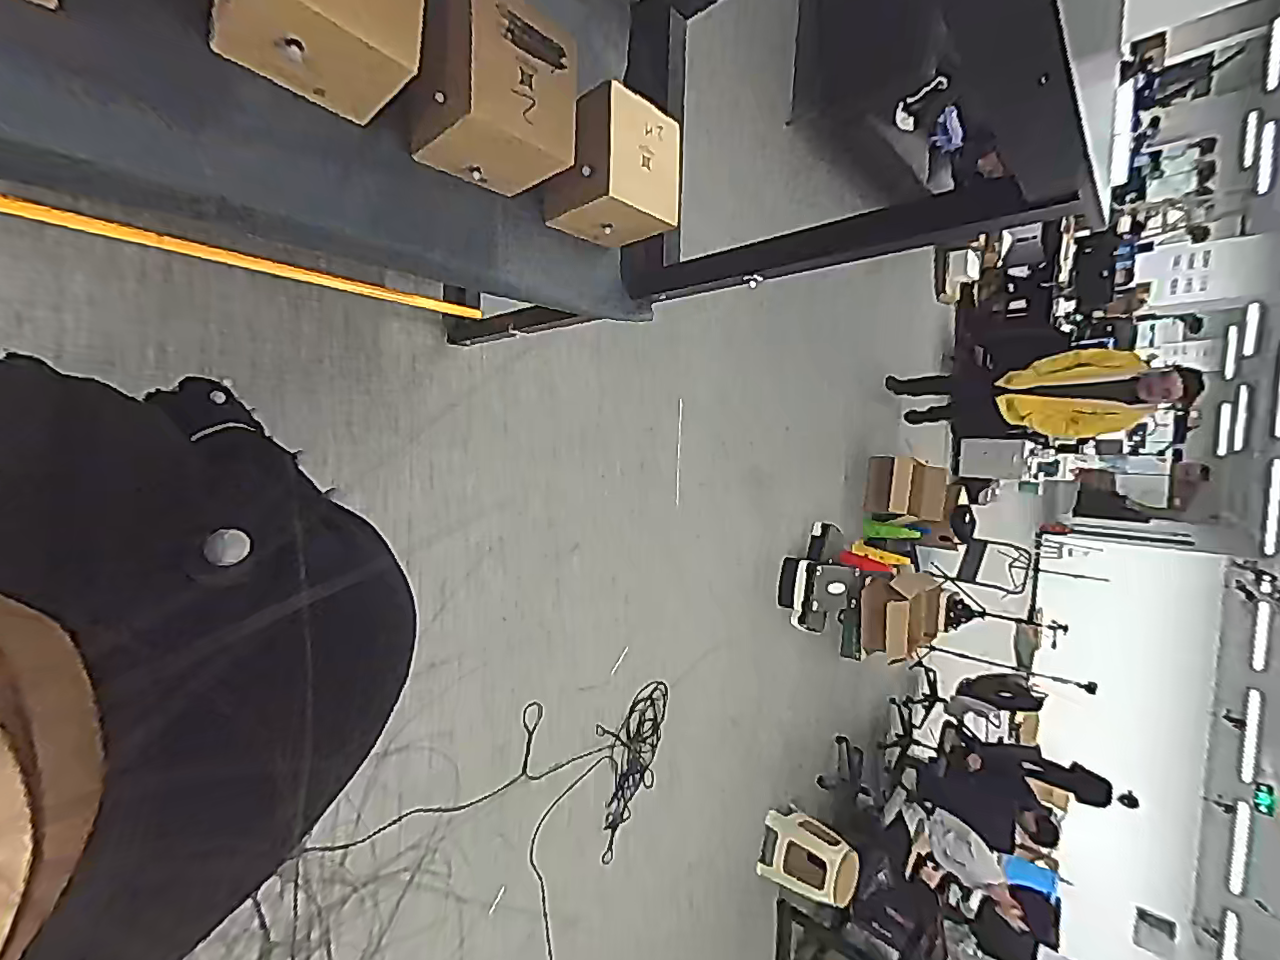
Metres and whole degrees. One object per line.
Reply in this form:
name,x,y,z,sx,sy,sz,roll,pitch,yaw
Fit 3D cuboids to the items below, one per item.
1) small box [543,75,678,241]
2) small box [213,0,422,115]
small box,-0.054,-0.535,0.935,0.168,0.176,0.179,-4,96,-47
small box,-0.360,-0.561,0.609,0.168,0.176,0.179,4,91,-47
